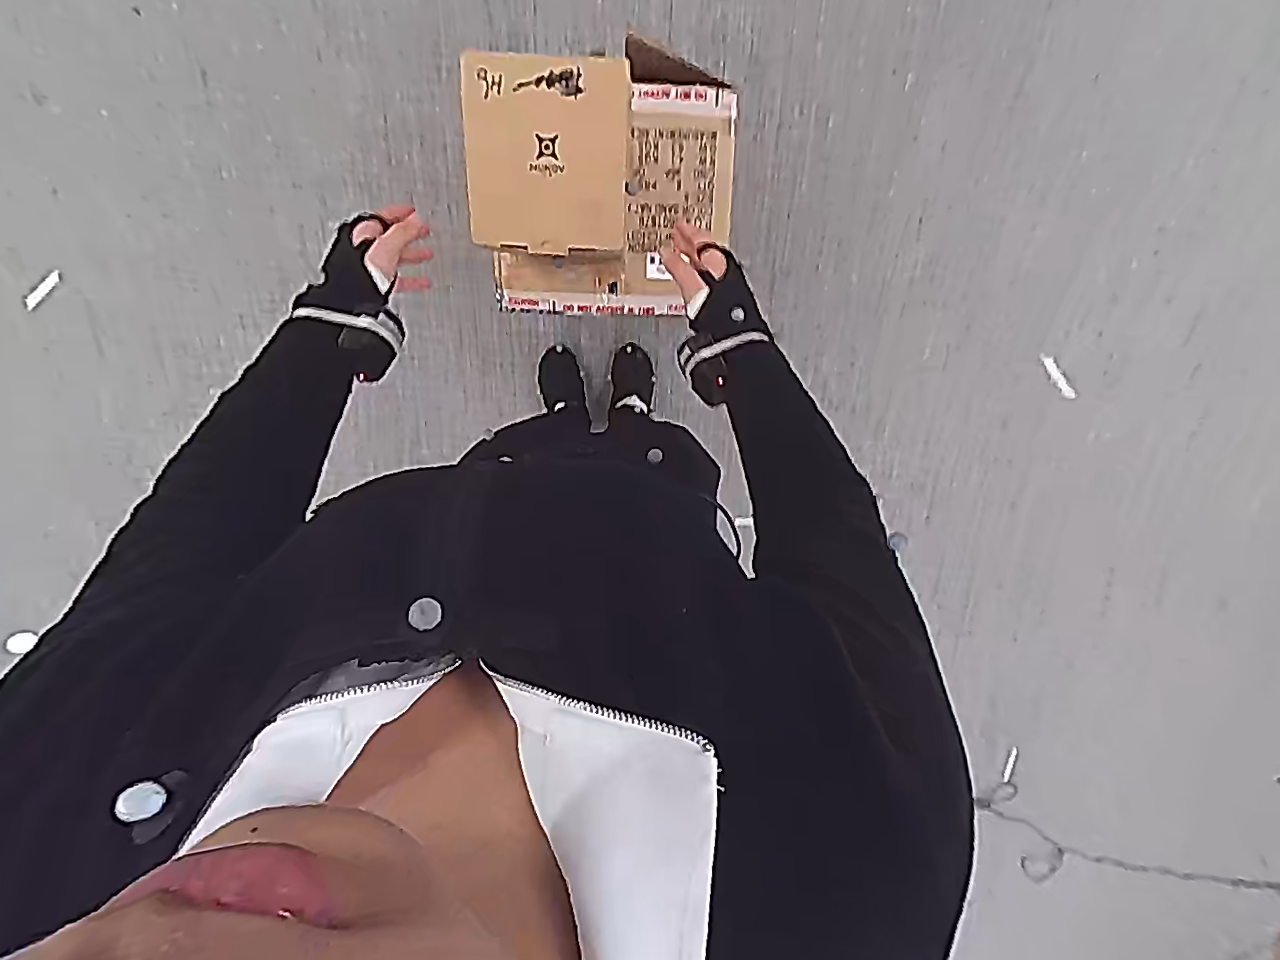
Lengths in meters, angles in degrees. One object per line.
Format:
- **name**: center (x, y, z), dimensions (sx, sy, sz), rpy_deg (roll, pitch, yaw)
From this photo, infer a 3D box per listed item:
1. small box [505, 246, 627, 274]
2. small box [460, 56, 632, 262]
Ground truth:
- **small box**: center (-0.102, -0.395, 0.784), dimensions (0.168, 0.176, 0.179), rpy_deg (0, 111, 0)
- **small box**: center (-0.097, -0.351, 0.625), dimensions (0.168, 0.176, 0.179), rpy_deg (3, 111, -1)
